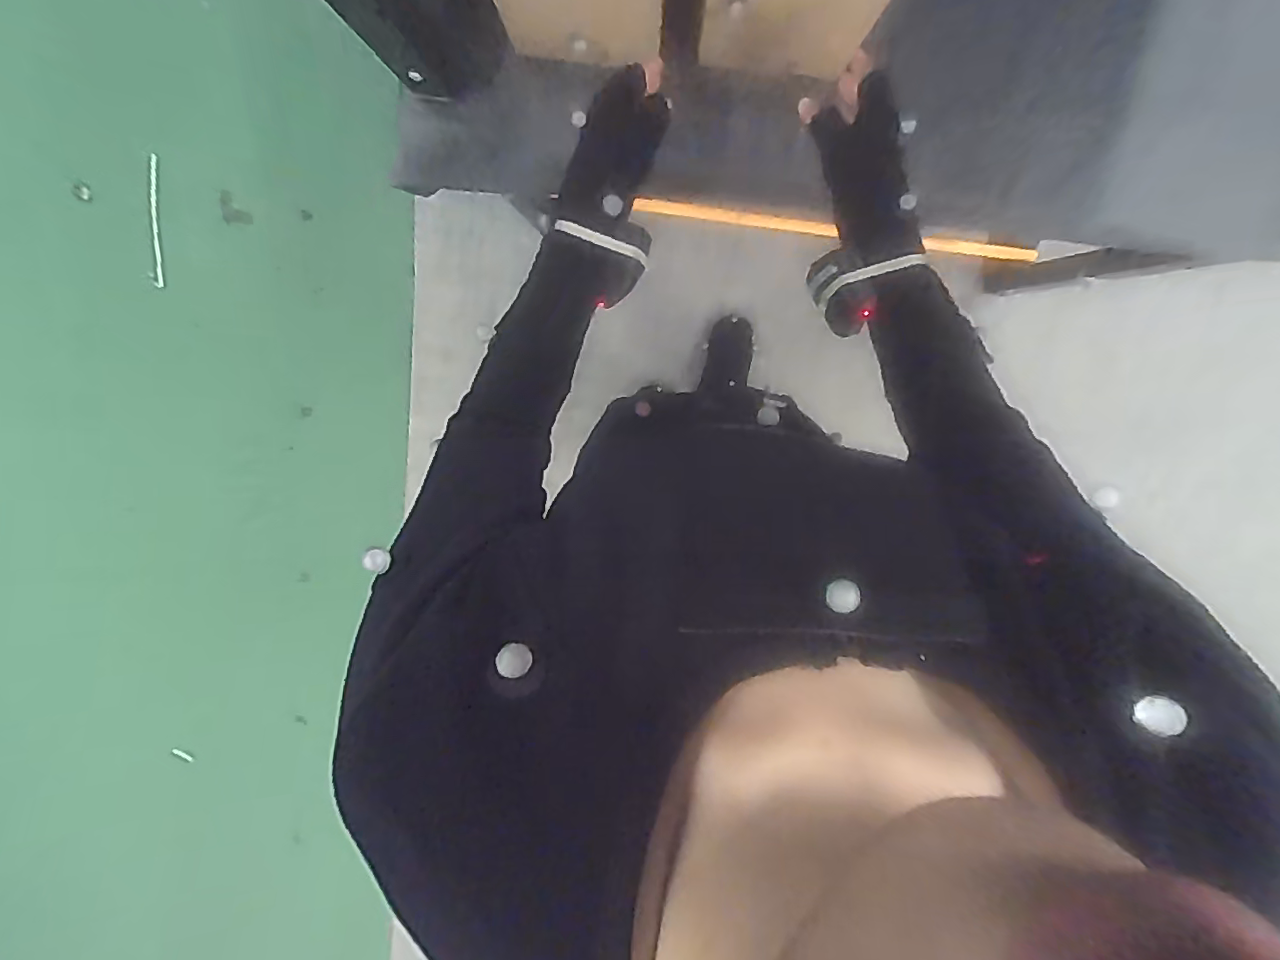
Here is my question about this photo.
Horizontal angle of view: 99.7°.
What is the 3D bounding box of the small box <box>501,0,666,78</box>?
[{"bbox_3d":[-0.053,-0.541,0.530,0.168,0.176,0.179,6,103,0],"label":"small box"}]
